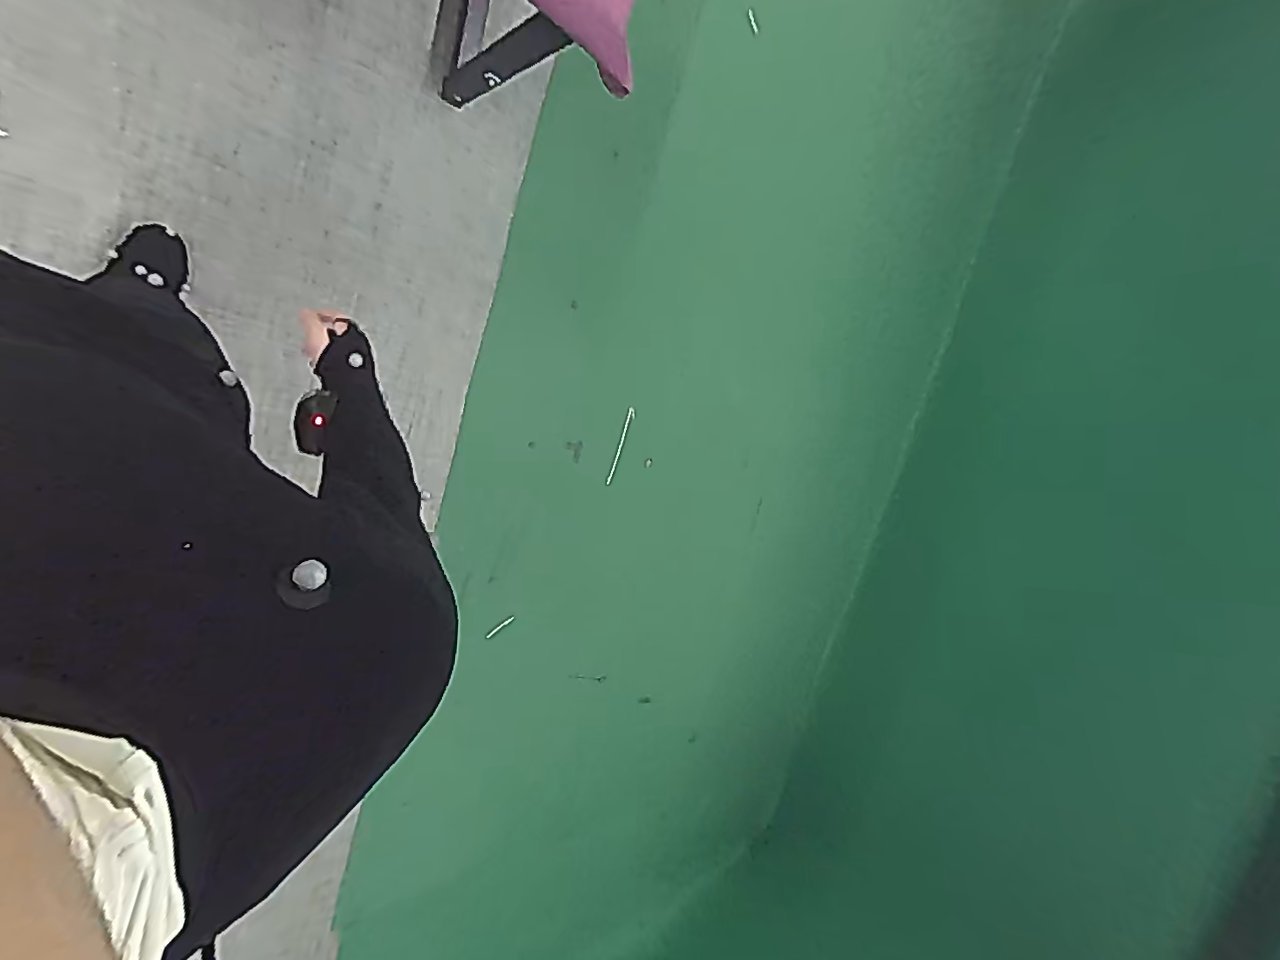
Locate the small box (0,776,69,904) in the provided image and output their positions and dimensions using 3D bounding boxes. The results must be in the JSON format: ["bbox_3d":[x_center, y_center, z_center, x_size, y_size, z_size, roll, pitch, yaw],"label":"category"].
[{"bbox_3d":[-1.380,0.783,1.170,0.168,0.176,0.179,17,96,-44],"label":"small box"}]
